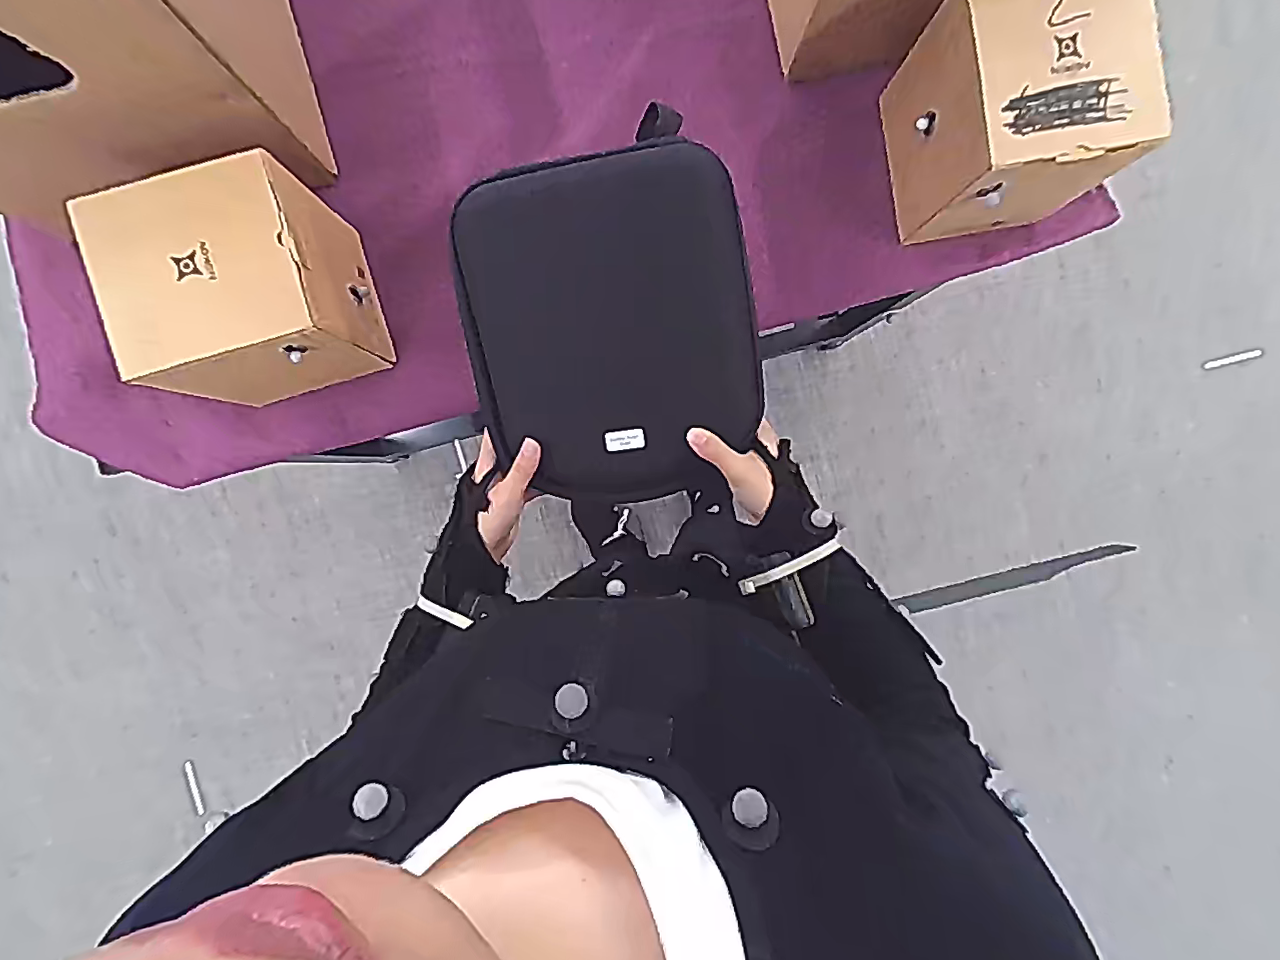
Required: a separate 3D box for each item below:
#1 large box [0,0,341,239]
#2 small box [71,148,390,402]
[{"bbox_3d":[-0.536,-0.495,0.469,0.320,0.320,0.408,-16,94,-2],"label":"large box"},{"bbox_3d":[-0.392,-0.188,0.551,0.179,0.176,0.168,-18,90,-2],"label":"small box"}]
